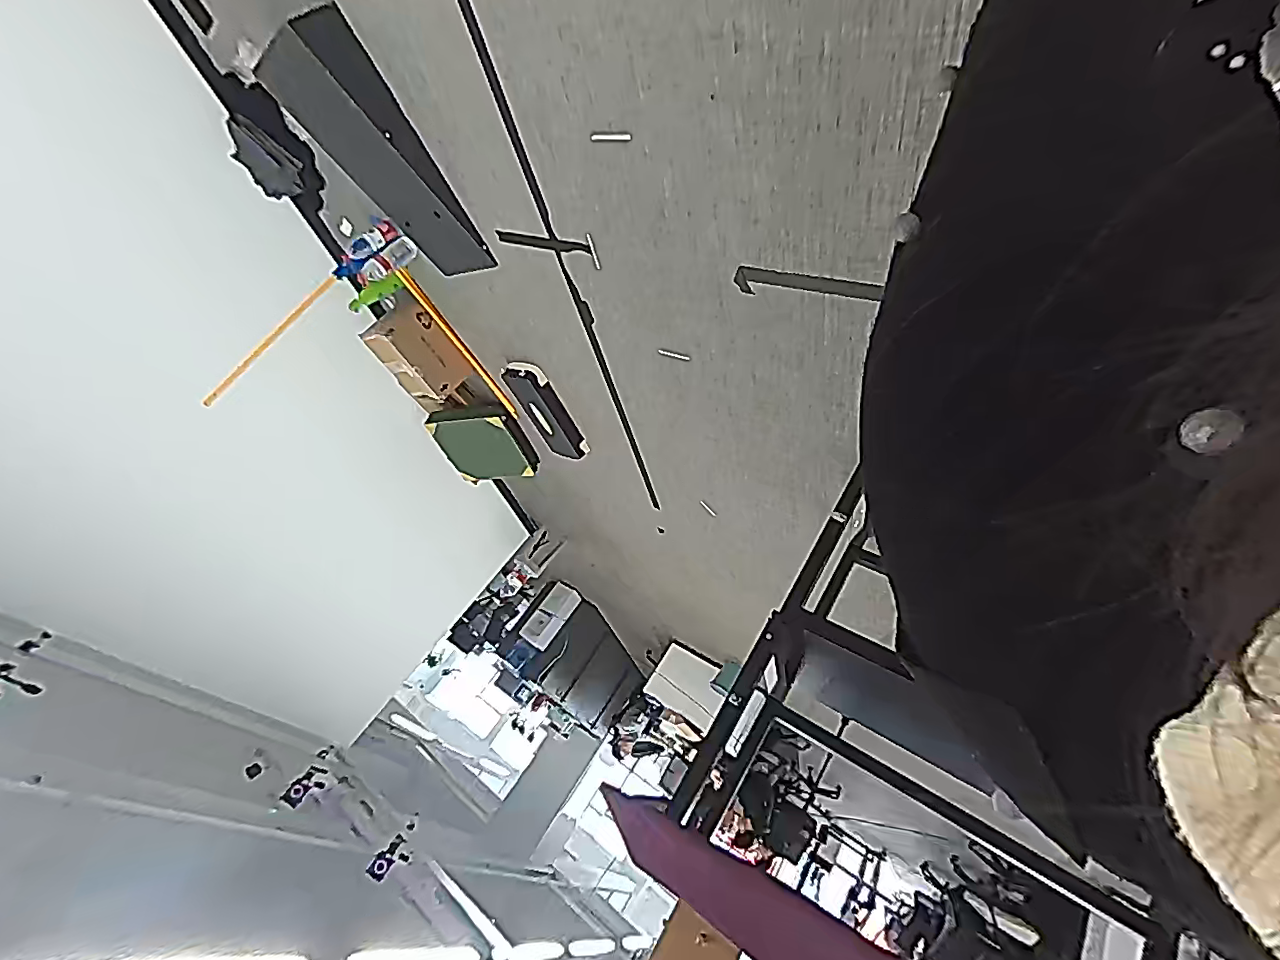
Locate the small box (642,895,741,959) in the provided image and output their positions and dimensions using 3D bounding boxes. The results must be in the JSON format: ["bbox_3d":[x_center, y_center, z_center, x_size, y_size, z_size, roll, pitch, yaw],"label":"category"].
[{"bbox_3d":[0.125,1.137,1.293,0.179,0.176,0.168,25,154,27],"label":"small box"}]
